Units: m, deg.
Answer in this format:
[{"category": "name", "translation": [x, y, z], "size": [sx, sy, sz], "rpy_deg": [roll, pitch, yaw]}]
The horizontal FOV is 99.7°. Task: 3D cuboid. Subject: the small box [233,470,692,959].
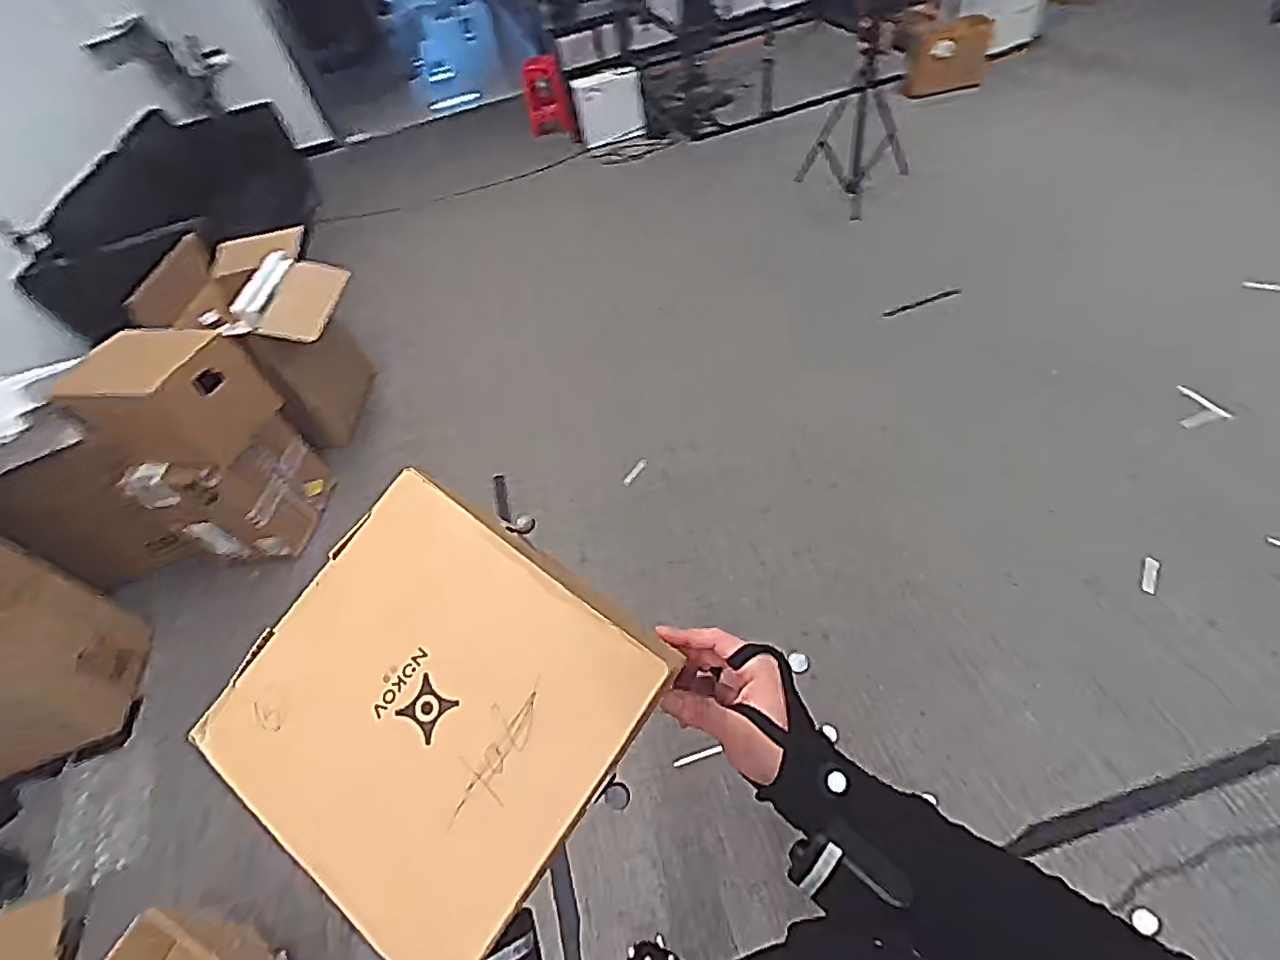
[{"category": "small box", "translation": [-0.083, 0.125, 0.341], "size": [0.179, 0.176, 0.168], "rpy_deg": [34, 81, 15]}]
